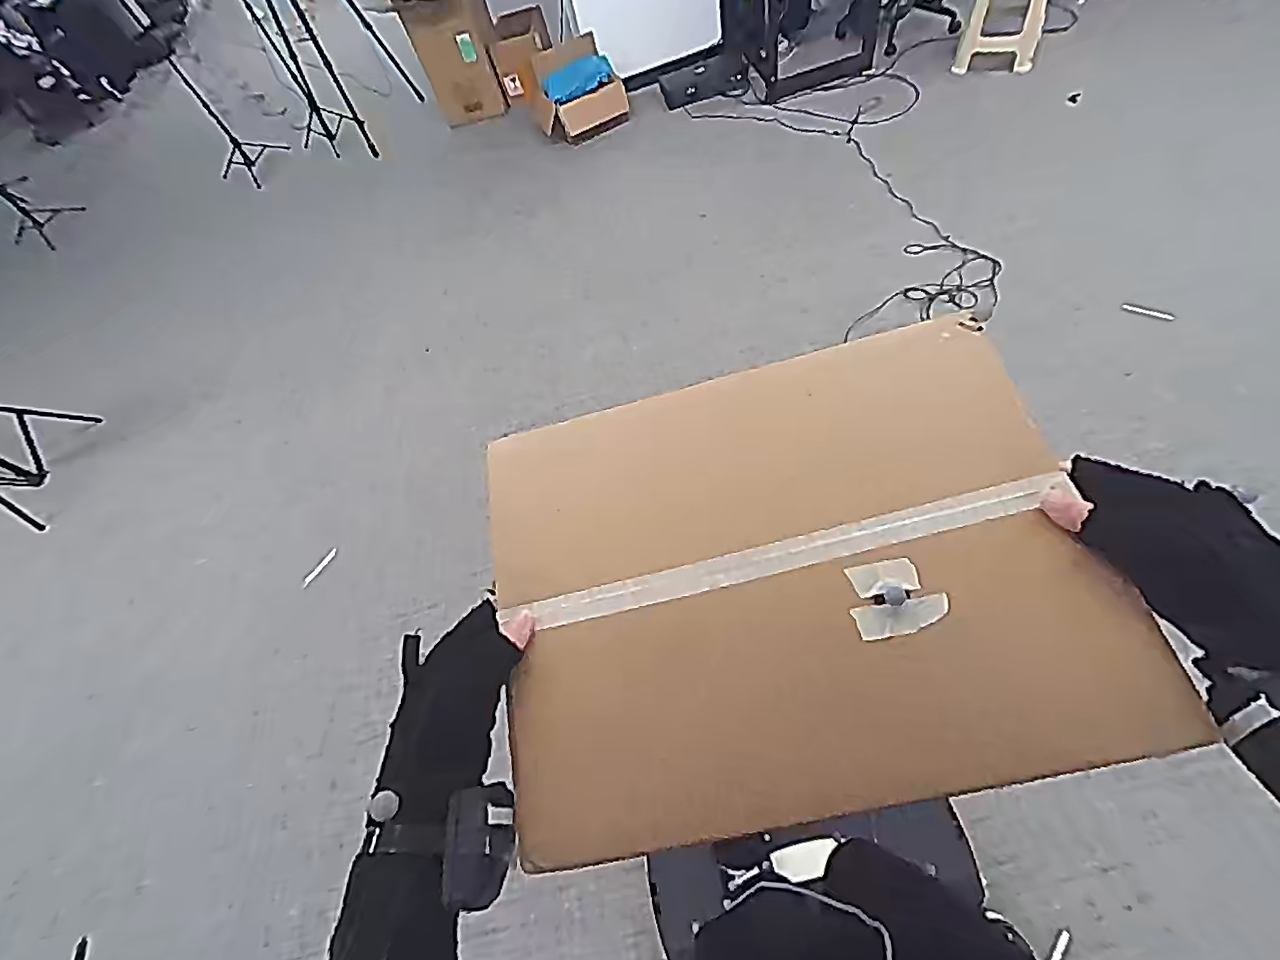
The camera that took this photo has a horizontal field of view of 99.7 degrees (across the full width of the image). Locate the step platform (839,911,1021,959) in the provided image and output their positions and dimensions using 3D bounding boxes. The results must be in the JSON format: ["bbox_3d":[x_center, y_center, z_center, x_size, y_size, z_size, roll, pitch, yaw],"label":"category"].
[{"bbox_3d":[0.388,1.038,0.971,0.684,0.204,0.286,-18,55,4],"label":"step platform"}]

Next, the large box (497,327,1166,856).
[{"bbox_3d":[0.120,0.118,0.532,0.408,0.320,0.320,-15,65,5],"label":"large box"}]
